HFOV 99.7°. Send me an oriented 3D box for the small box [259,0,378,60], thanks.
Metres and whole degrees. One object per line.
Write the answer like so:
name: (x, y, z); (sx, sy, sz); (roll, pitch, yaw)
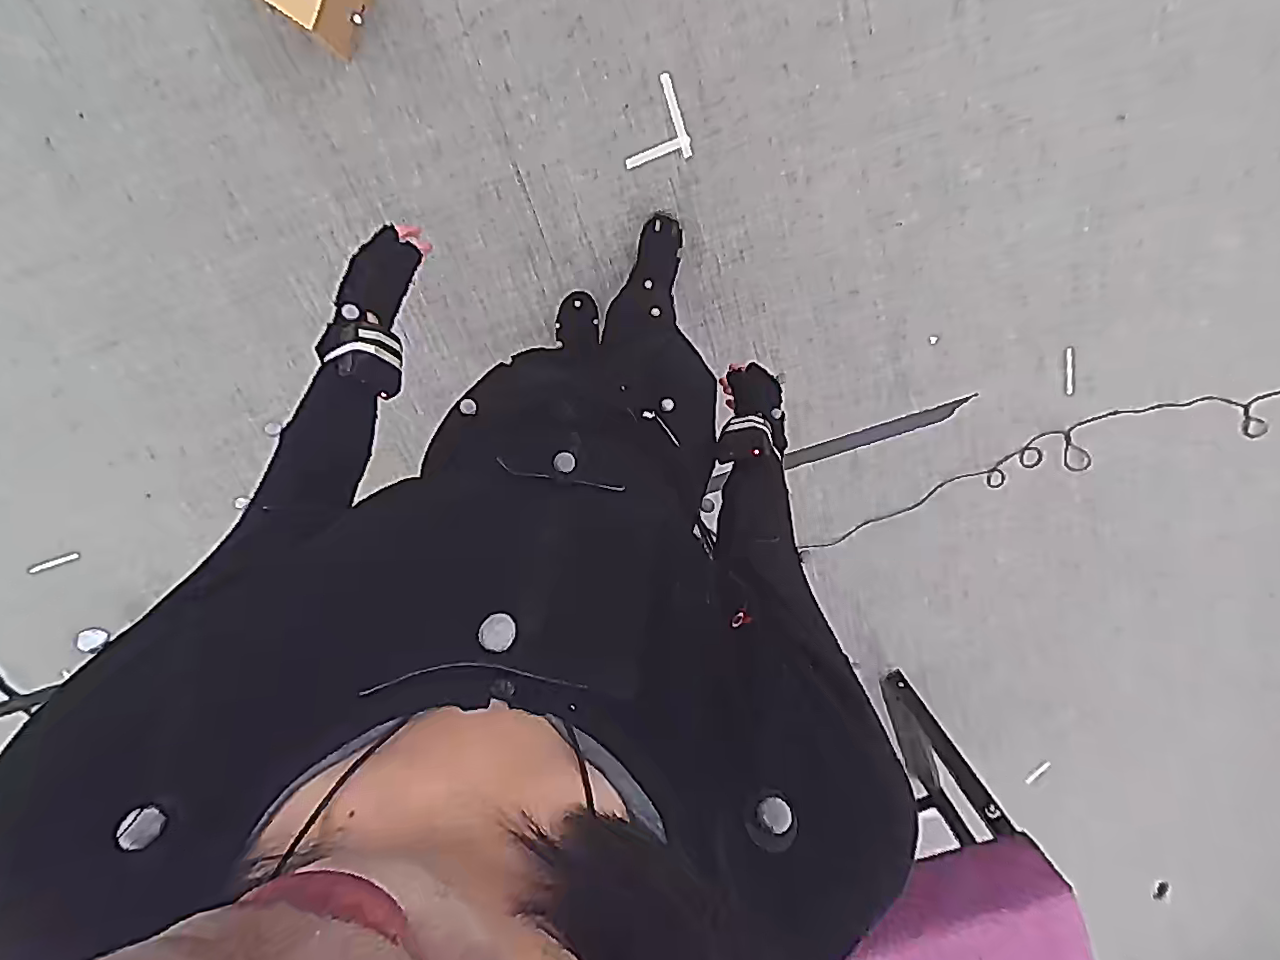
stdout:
small box: (-0.649, -0.975, 1.054); (0.179, 0.176, 0.168); (29, 106, -15)
